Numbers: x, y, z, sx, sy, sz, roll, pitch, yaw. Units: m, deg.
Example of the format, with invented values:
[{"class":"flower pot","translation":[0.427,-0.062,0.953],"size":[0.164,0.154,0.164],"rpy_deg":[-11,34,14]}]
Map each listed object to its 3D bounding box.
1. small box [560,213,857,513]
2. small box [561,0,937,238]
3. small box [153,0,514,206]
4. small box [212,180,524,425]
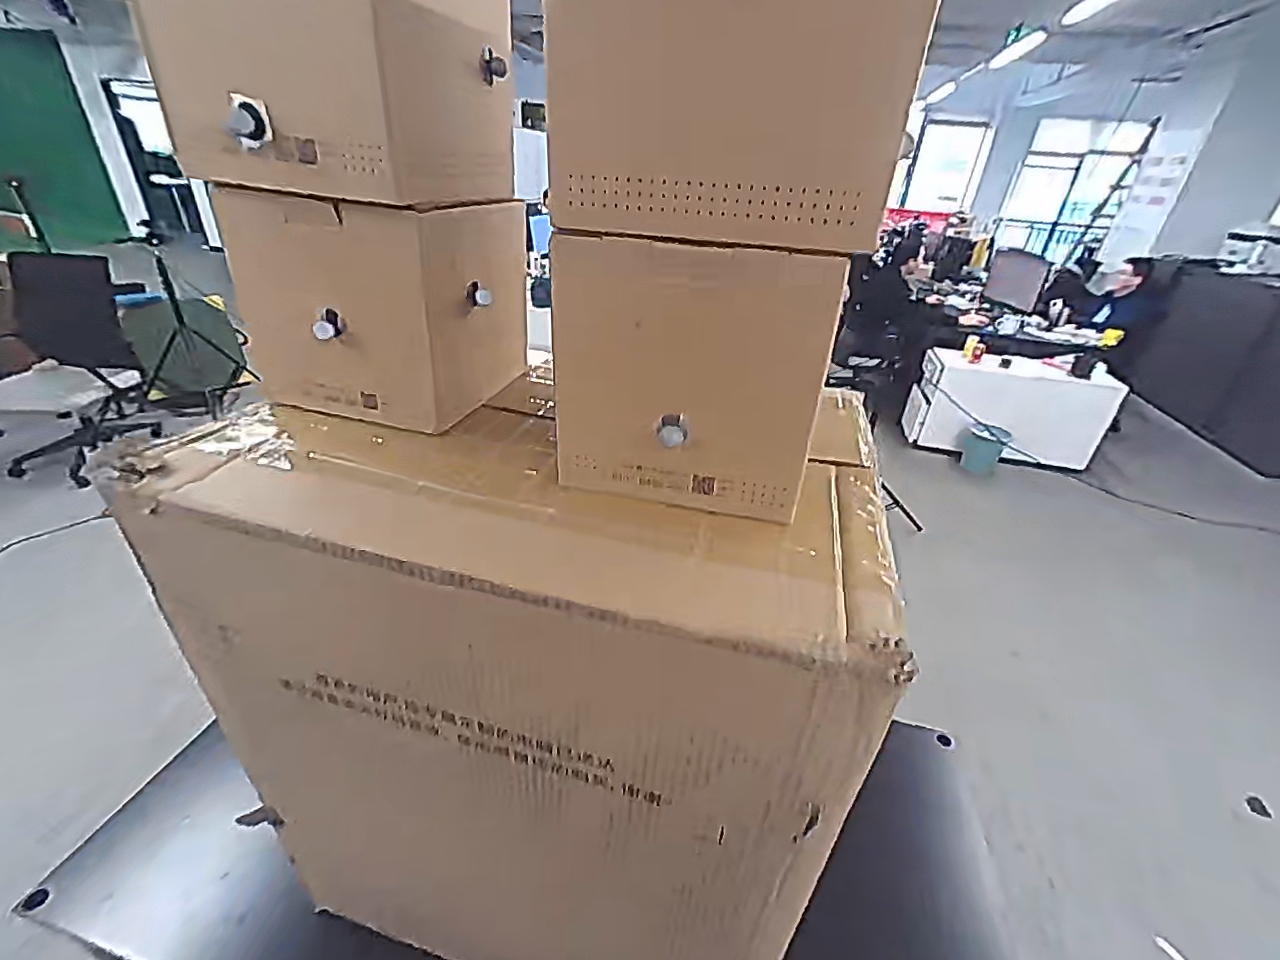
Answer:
[{"class":"small box","translation":[0.048,-0.099,0.397],"size":[0.168,0.176,0.179],"rpy_deg":[9,31,11]},{"class":"small box","translation":[0.060,-0.238,0.309],"size":[0.179,0.176,0.168],"rpy_deg":[10,31,10]},{"class":"small box","translation":[-0.199,-0.297,0.381],"size":[0.168,0.176,0.179],"rpy_deg":[10,31,9]},{"class":"small box","translation":[-0.207,-0.163,0.474],"size":[0.168,0.176,0.179],"rpy_deg":[11,31,9]}]
